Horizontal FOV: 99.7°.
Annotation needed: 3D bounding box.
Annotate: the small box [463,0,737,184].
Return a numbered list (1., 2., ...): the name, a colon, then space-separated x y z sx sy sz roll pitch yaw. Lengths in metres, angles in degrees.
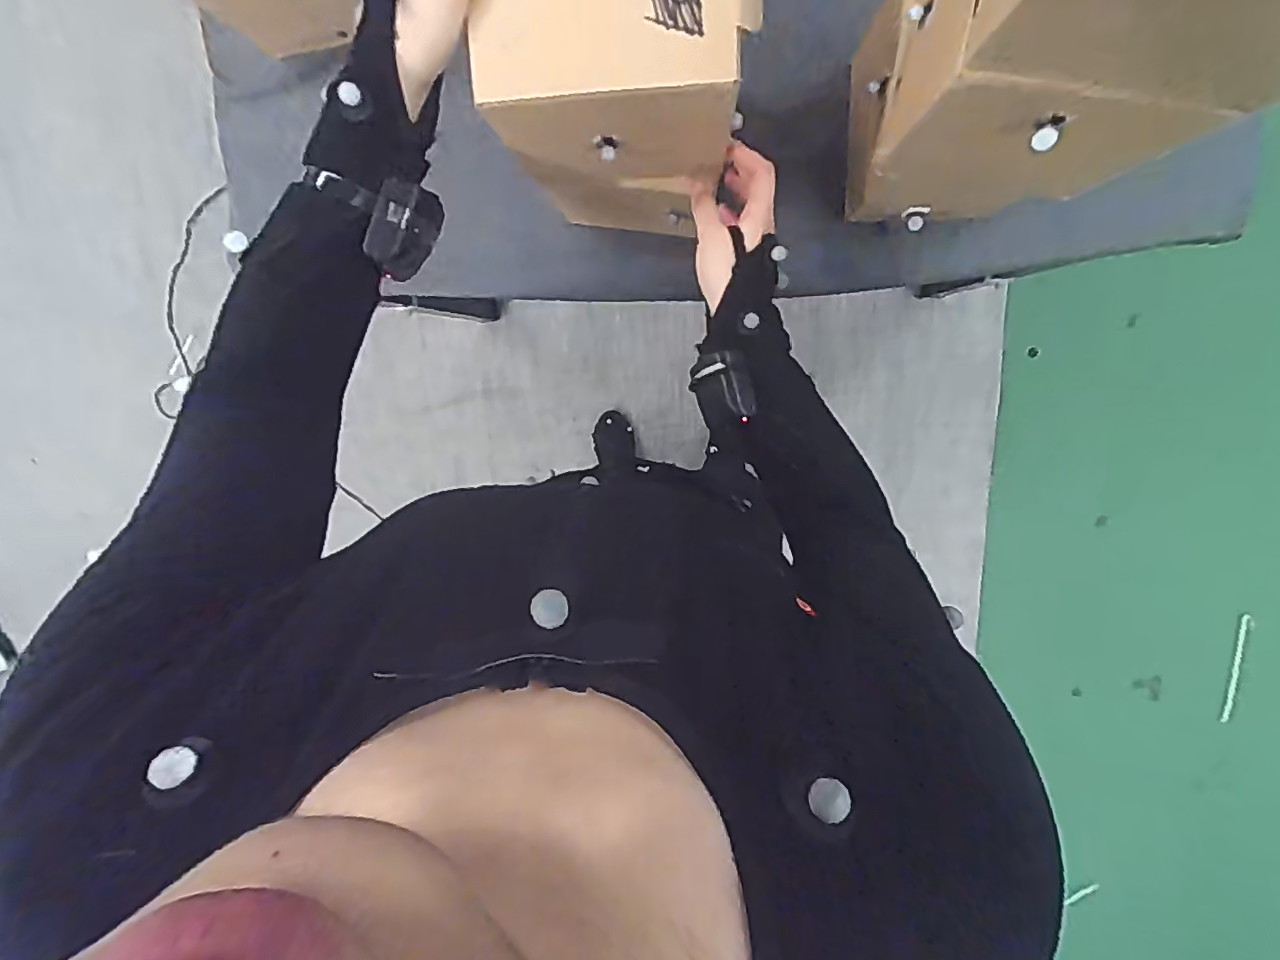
1. small box: -0.021 -0.343 0.412 0.179 0.176 0.168 0 102 6

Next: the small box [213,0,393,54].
1. small box: -0.387 -0.594 0.560 0.168 0.176 0.179 -5 103 6

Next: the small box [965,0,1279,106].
1. small box: 0.283 -0.291 0.226 0.179 0.176 0.168 12 102 4

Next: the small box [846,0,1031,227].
1. small box: 0.314 -0.371 0.542 0.168 0.176 0.179 0 103 7

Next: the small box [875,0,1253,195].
1. small box: 0.298 -0.323 0.388 0.179 0.176 0.168 11 103 5
